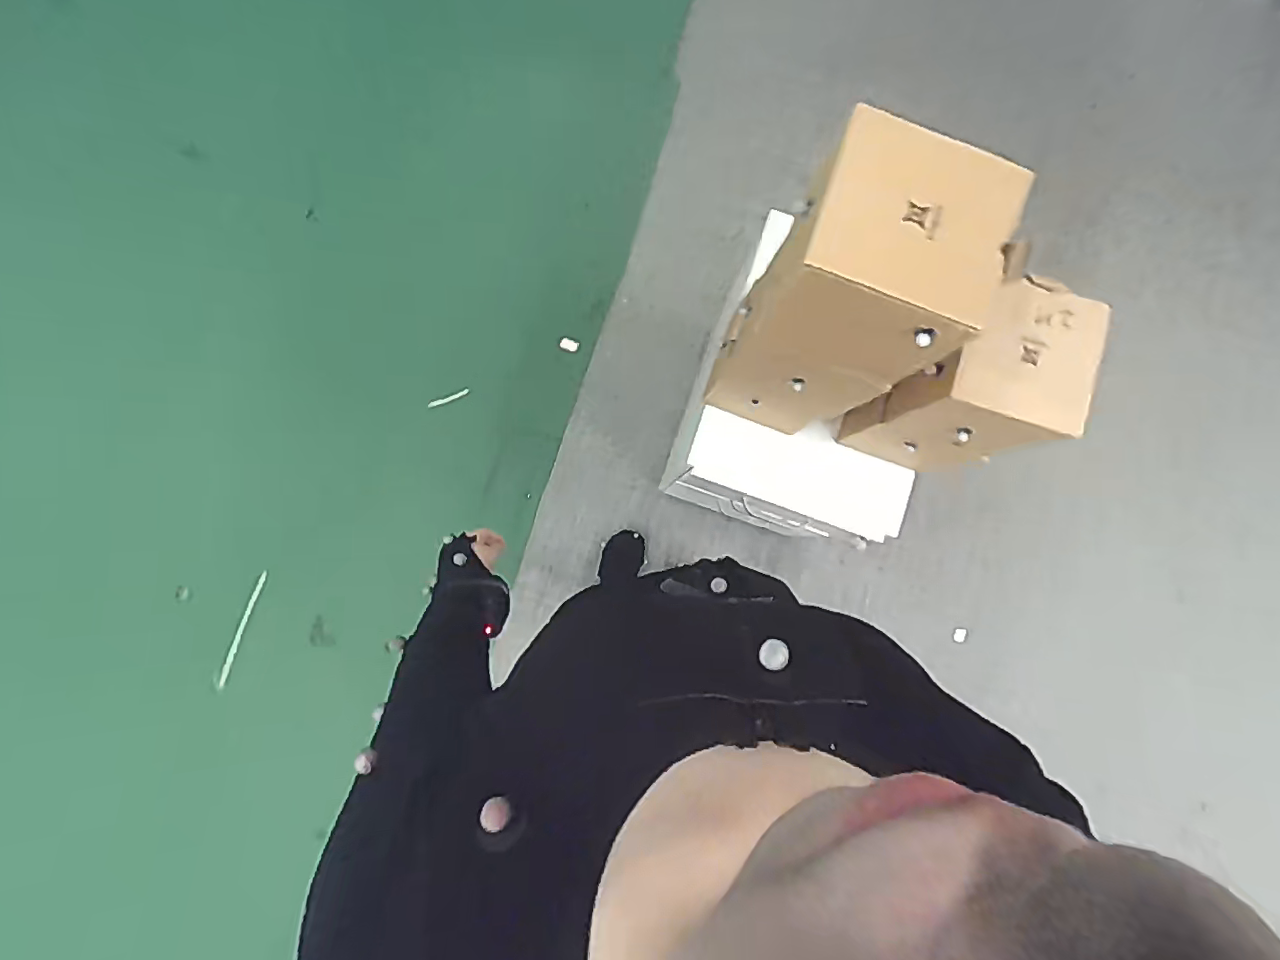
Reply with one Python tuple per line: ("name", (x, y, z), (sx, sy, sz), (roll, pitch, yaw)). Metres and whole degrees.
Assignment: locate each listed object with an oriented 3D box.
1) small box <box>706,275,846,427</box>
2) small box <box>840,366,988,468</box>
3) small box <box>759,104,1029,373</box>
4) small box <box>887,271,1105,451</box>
("small box", (0.223, -0.199, 0.889), (0.179, 0.176, 0.168), (20, 84, -3))
("small box", (0.460, -0.128, 0.896), (0.179, 0.176, 0.168), (20, 84, -1))
("small box", (0.244, -0.230, 0.563), (0.179, 0.176, 0.168), (20, 83, -3))
("small box", (0.464, -0.150, 0.732), (0.168, 0.176, 0.179), (18, 83, -1))
